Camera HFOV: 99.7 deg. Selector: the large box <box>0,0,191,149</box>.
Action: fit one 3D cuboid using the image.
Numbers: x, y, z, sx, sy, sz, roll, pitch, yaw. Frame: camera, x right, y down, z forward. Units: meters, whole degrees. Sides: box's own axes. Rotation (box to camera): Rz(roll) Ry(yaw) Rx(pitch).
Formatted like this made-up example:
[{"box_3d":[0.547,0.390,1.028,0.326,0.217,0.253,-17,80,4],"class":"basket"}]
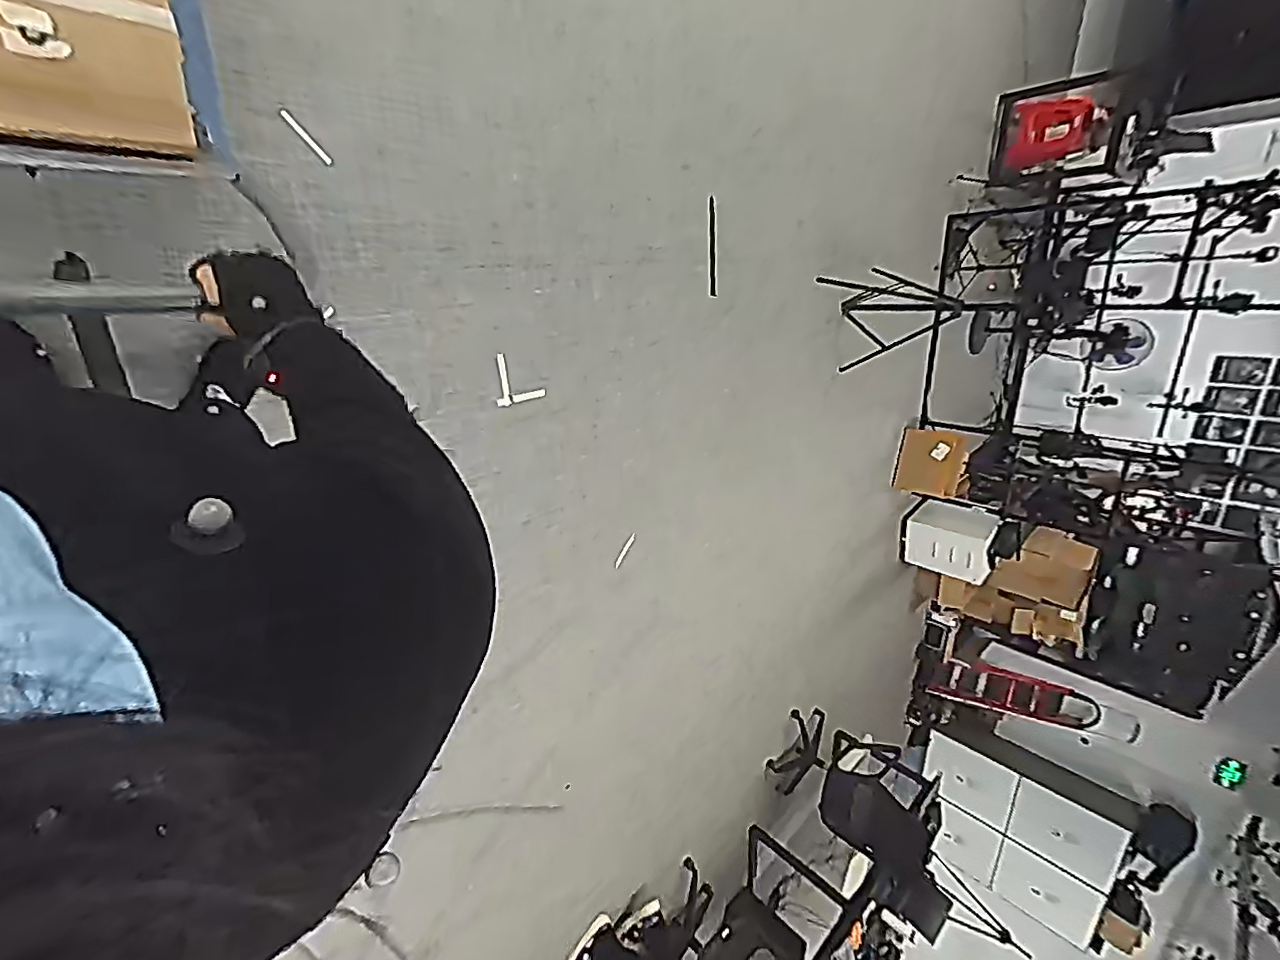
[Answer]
[{"box_3d":[-0.864,-0.629,0.656,0.408,0.320,0.320,-19,135,-42],"class":"large box"}]
